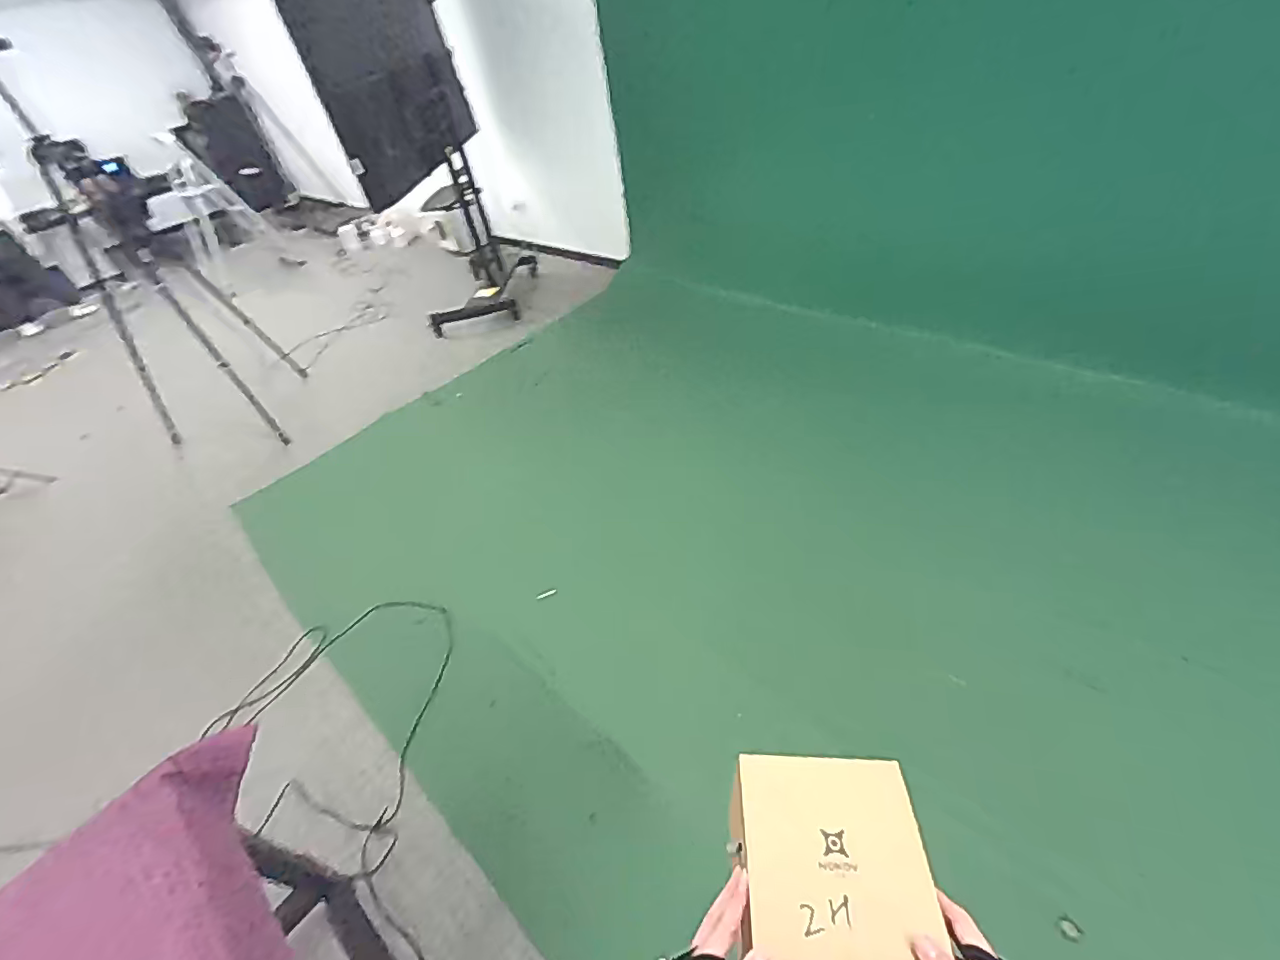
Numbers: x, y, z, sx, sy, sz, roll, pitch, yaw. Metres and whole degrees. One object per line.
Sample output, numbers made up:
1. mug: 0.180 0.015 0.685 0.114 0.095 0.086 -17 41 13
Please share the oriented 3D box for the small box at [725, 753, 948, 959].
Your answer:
1. small box: 0.179 0.407 0.556 0.168 0.176 0.179 0 42 4
